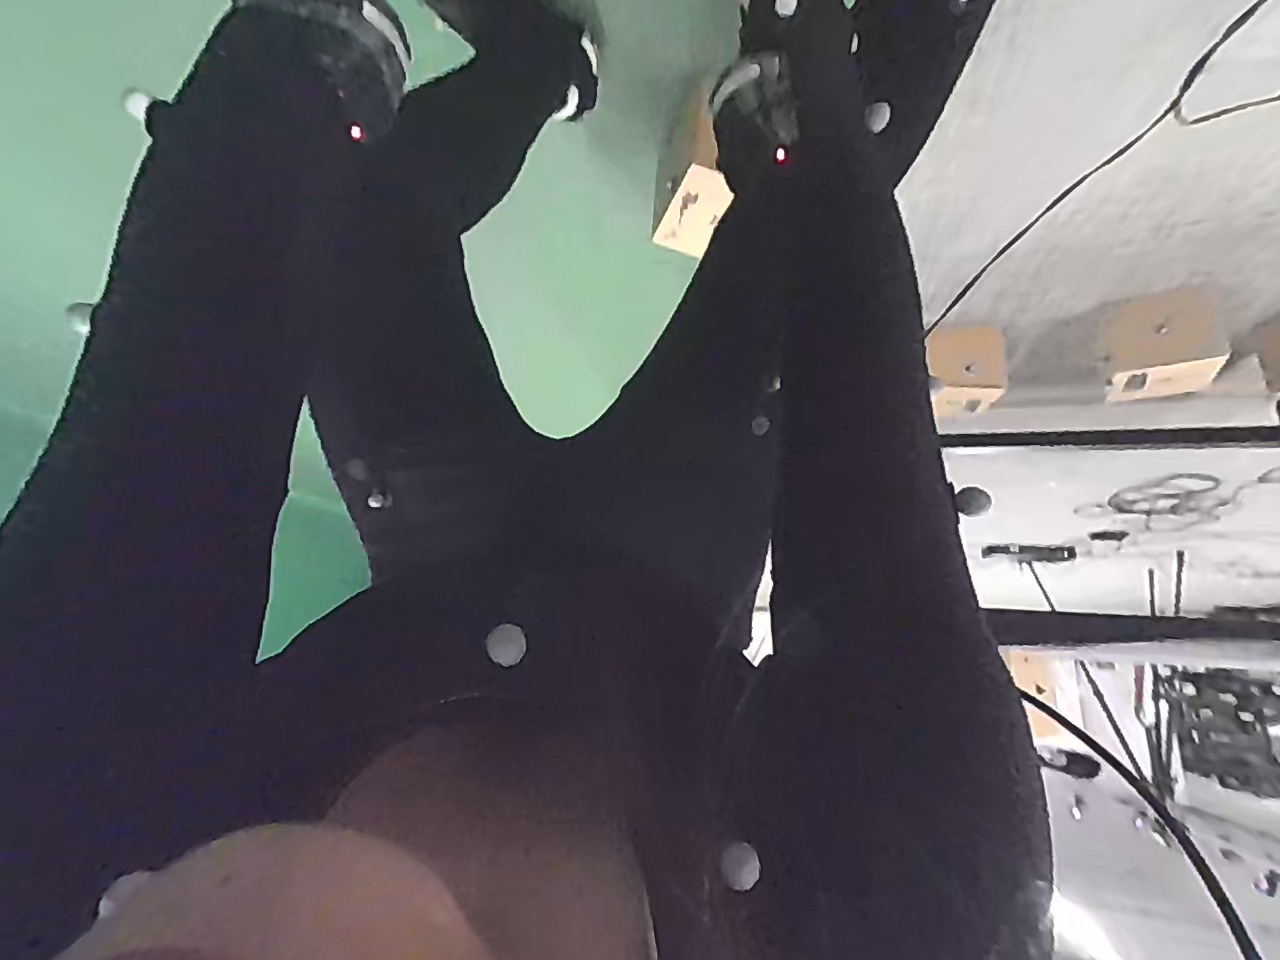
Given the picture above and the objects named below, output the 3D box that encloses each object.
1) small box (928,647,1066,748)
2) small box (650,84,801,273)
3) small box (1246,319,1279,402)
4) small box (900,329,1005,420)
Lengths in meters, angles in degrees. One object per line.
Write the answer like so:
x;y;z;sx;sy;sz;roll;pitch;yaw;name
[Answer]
0.724;0.437;1.111;0.168;0.176;0.179;11;161;-30;small box
0.129;-0.459;0.838;0.179;0.176;0.168;9;163;-18;small box
1.474;-0.271;1.155;0.168;0.176;0.179;9;163;-16;small box
0.760;-0.259;1.336;0.179;0.176;0.168;1;162;10;small box
